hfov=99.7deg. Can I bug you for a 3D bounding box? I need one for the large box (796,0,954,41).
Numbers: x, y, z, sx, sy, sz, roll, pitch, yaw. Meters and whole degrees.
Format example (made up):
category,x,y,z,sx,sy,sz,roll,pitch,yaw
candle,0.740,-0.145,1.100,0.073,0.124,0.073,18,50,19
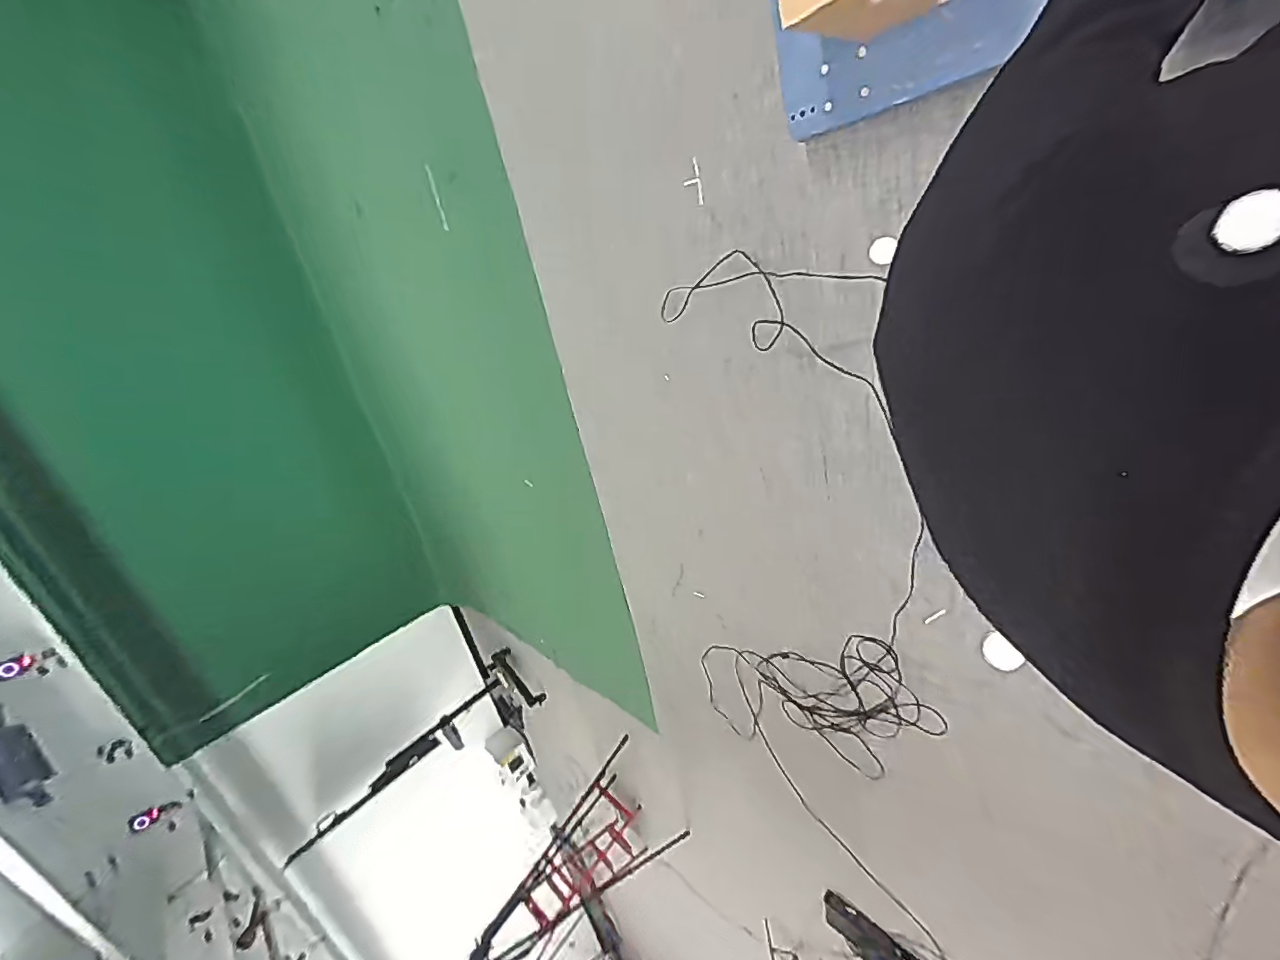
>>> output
category,x,y,z,sx,sy,sz,roll,pitch,yaw
large box,0.416,-0.978,0.813,0.320,0.320,0.408,6,119,48
